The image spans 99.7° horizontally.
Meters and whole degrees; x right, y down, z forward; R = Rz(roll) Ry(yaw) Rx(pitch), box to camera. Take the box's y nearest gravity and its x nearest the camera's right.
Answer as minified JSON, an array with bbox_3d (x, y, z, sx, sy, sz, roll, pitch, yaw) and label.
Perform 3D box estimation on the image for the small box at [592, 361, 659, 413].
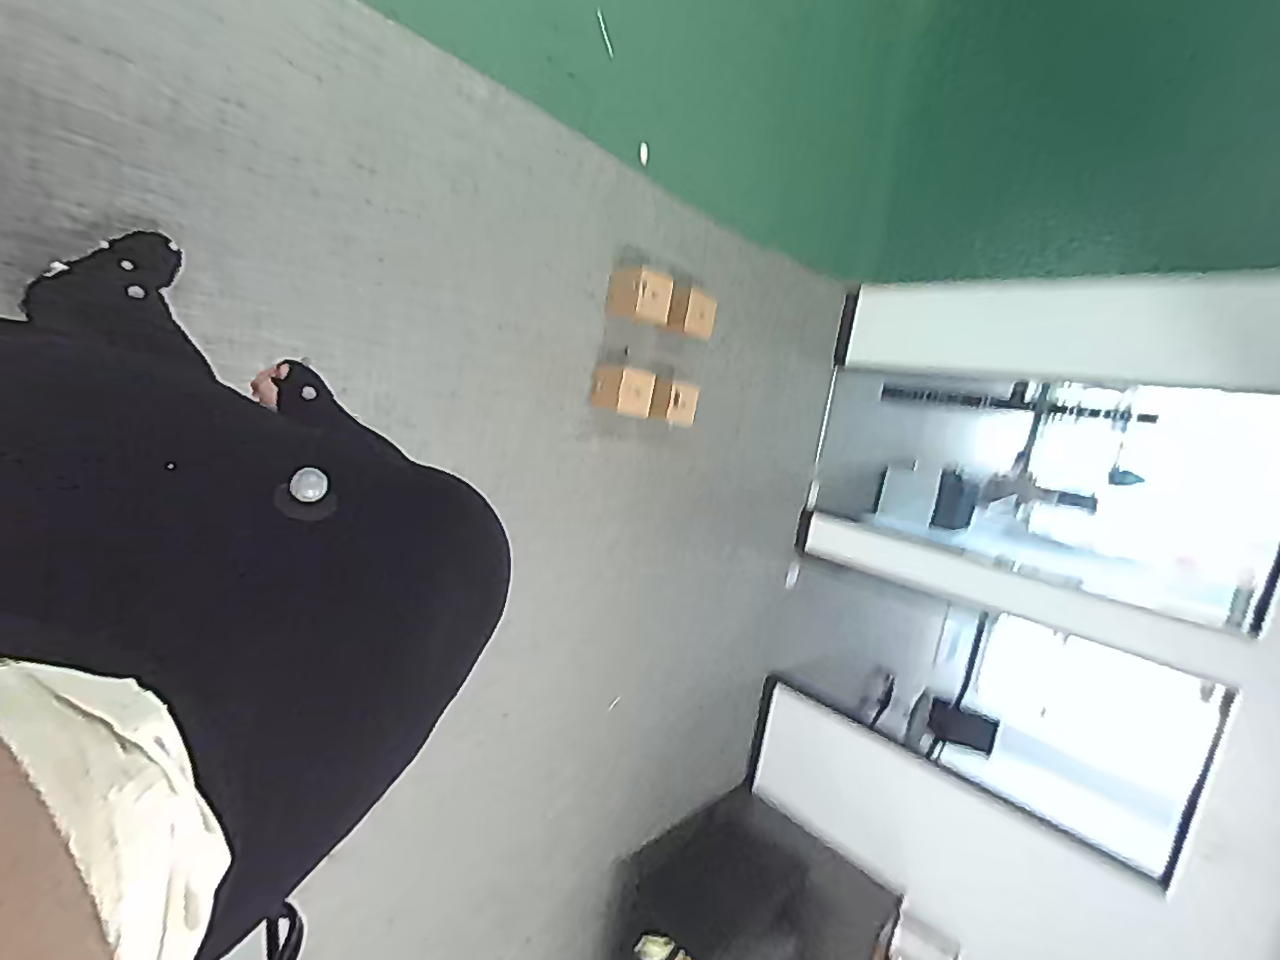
[{"bbox_3d":[-0.059,-0.361,2.092,0.179,0.176,0.168,4,100,-46],"label":"small box"}]

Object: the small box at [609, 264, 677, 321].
[{"bbox_3d":[0.010,-0.710,2.047,0.179,0.176,0.168,2,101,-47],"label":"small box"}]

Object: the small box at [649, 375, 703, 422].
[{"bbox_3d":[0.134,-0.348,2.291,0.179,0.176,0.168,4,100,-46],"label":"small box"}]
